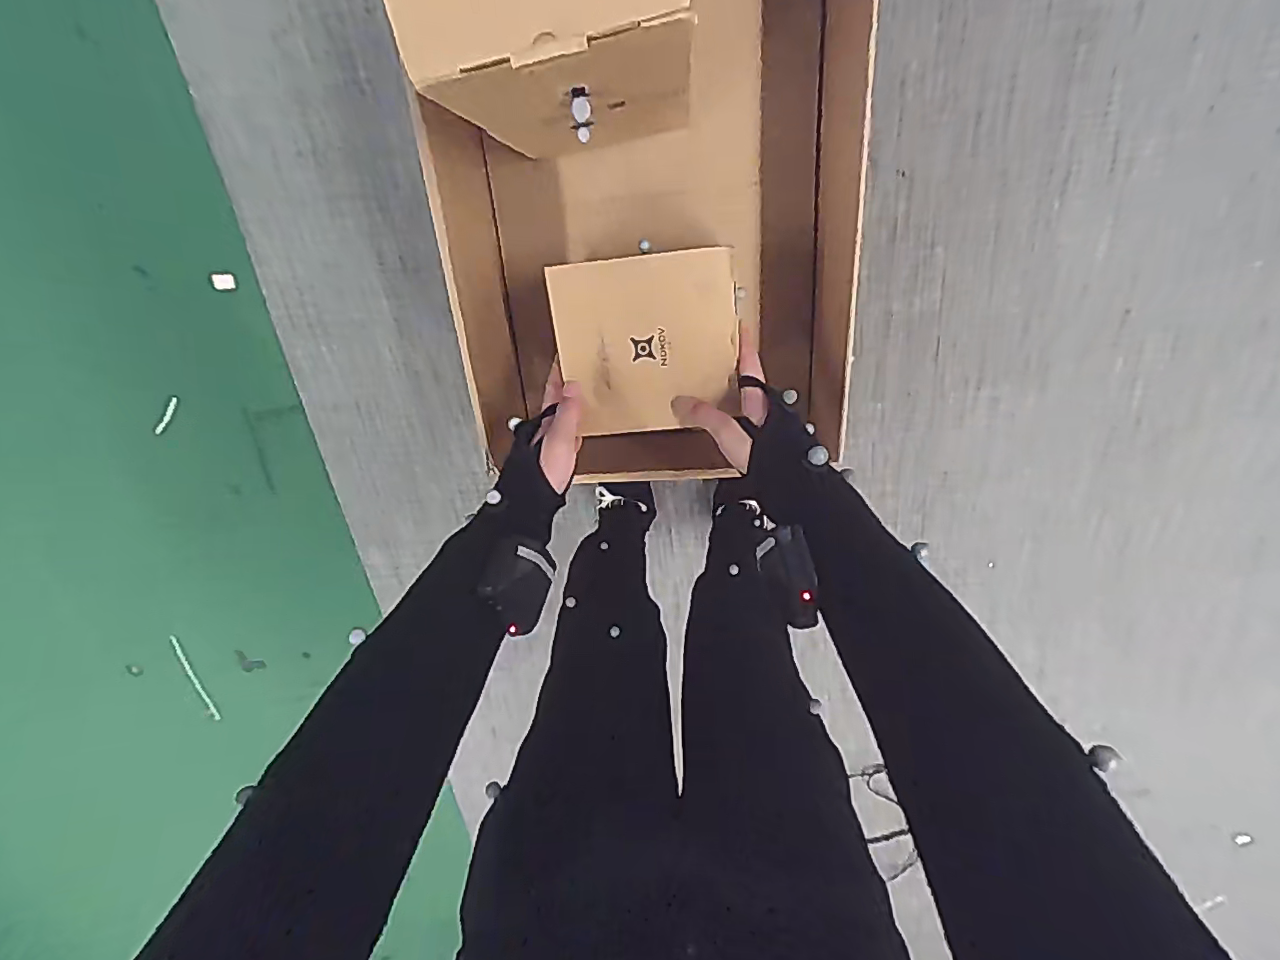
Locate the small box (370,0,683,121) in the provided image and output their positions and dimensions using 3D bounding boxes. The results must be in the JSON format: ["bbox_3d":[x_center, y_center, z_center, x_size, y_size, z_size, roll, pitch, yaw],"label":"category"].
[{"bbox_3d":[-0.066,-0.342,0.331,0.168,0.176,0.179,-8,114,9],"label":"small box"}]
